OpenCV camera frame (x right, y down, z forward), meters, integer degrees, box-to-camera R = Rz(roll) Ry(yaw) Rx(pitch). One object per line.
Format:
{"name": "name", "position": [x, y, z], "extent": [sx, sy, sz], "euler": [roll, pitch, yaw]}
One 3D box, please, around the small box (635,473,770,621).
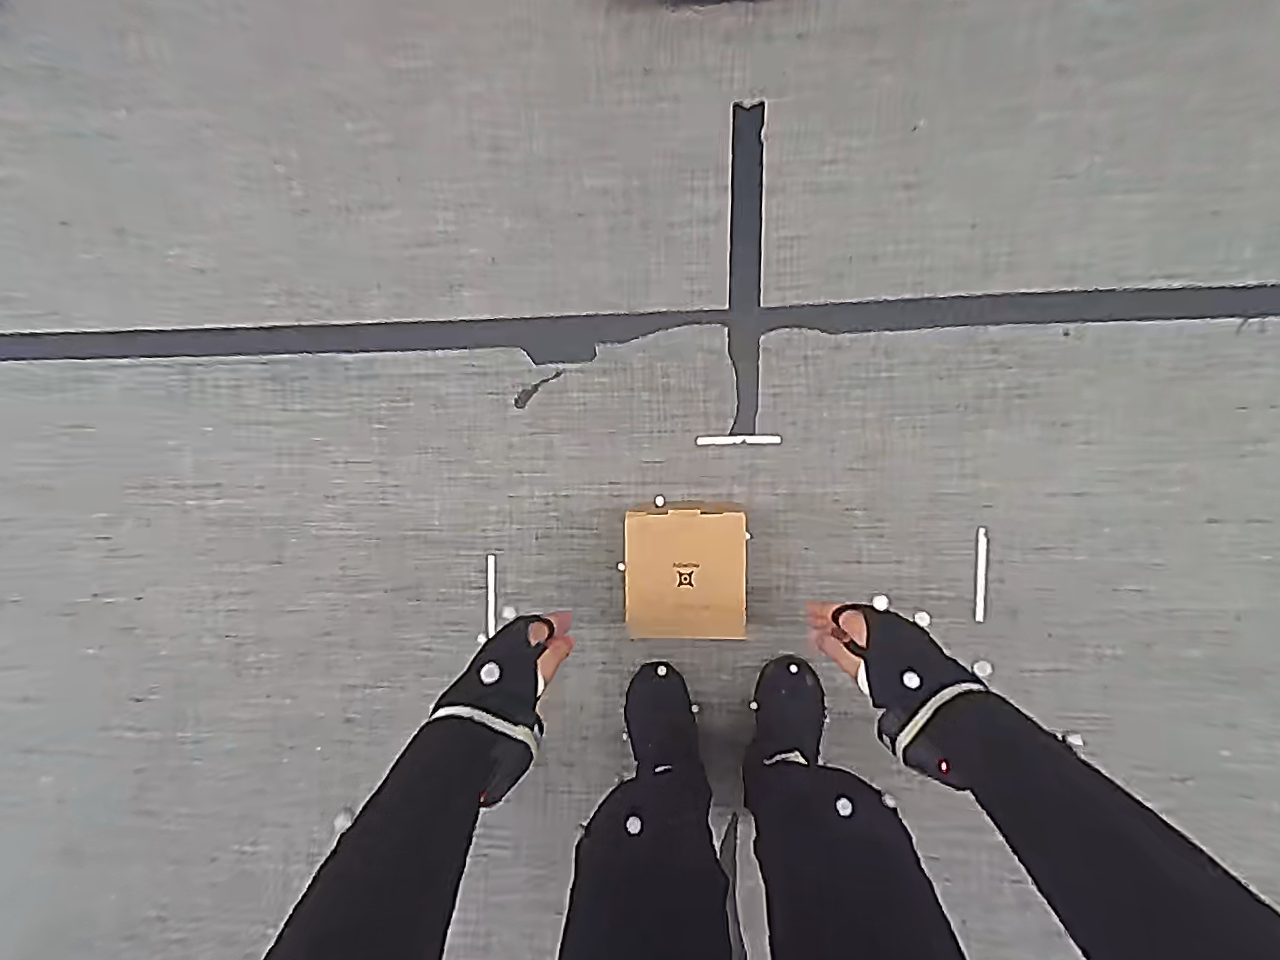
{"name": "small box", "position": [0.080, 0.080, 0.732], "extent": [0.168, 0.176, 0.179], "euler": [-1, 94, 4]}
